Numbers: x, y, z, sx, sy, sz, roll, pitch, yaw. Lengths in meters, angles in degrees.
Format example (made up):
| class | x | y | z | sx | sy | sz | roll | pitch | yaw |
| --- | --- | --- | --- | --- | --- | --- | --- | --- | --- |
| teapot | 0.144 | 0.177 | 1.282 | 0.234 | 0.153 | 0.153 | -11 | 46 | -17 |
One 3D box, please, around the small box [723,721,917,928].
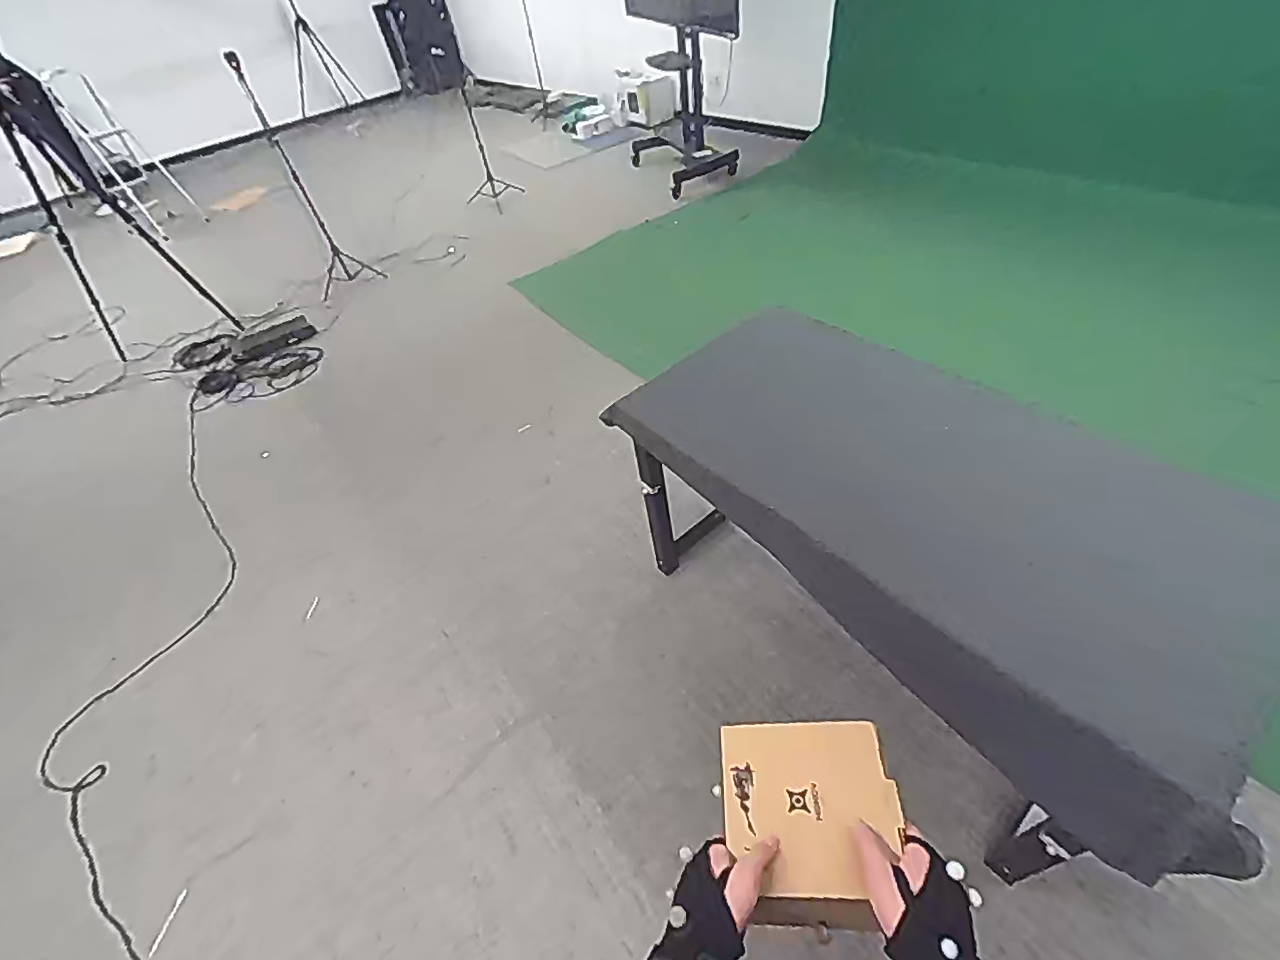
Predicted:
| class | x | y | z | sx | sy | sz | roll | pitch | yaw |
| --- | --- | --- | --- | --- | --- | --- | --- | --- | --- |
| small box | 0.189 | 0.393 | 0.619 | 0.179 | 0.176 | 0.168 | -5 | 43 | 10 |
